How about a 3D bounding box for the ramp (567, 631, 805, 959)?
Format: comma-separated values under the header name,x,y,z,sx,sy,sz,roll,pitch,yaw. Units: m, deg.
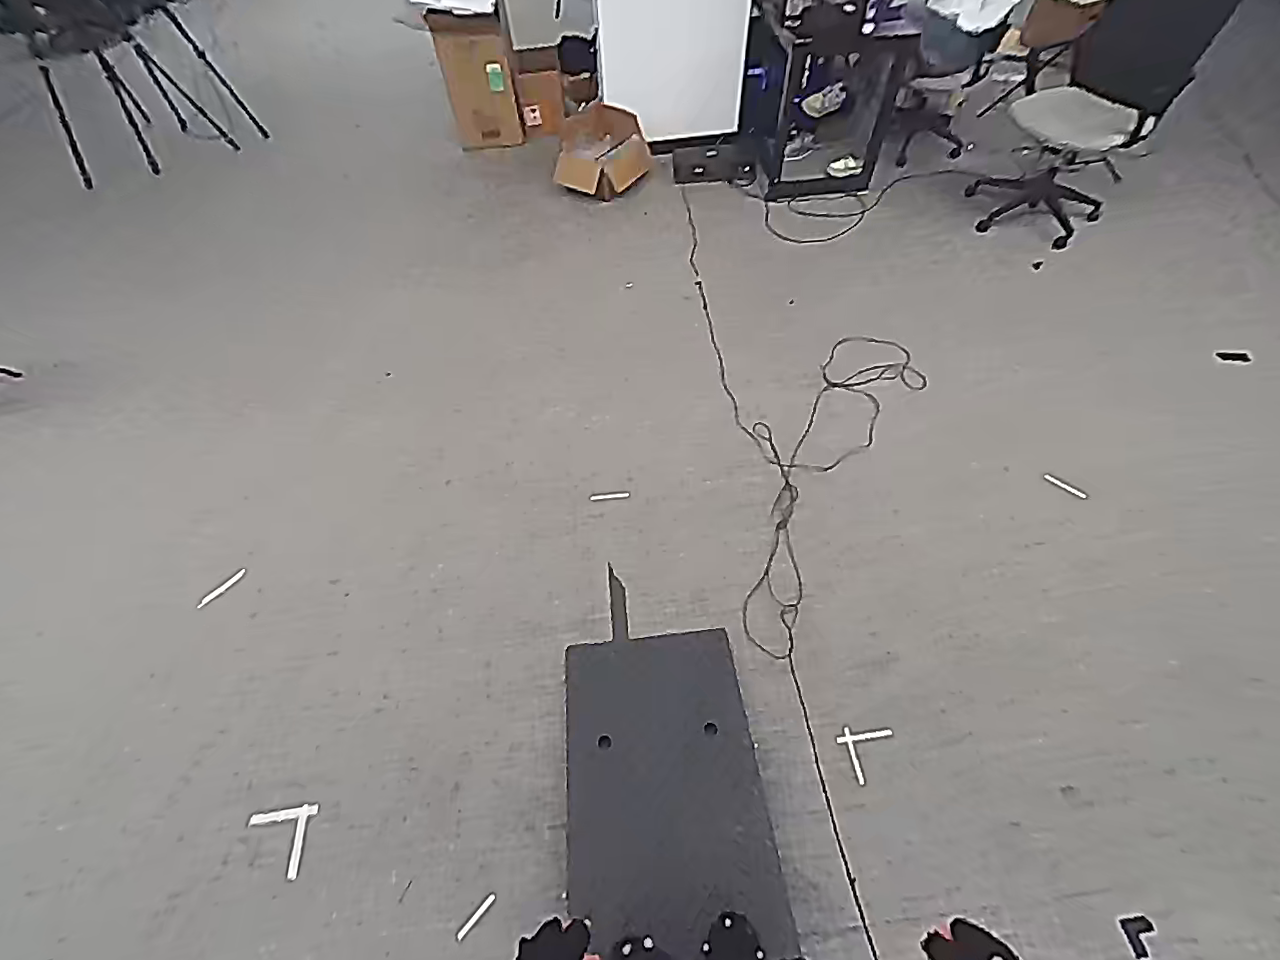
name,x,y,z,sx,sy,sz,roll,pitch,yaw
ramp,0.071,0.839,1.292,0.509,0.206,0.991,-8,55,-2
